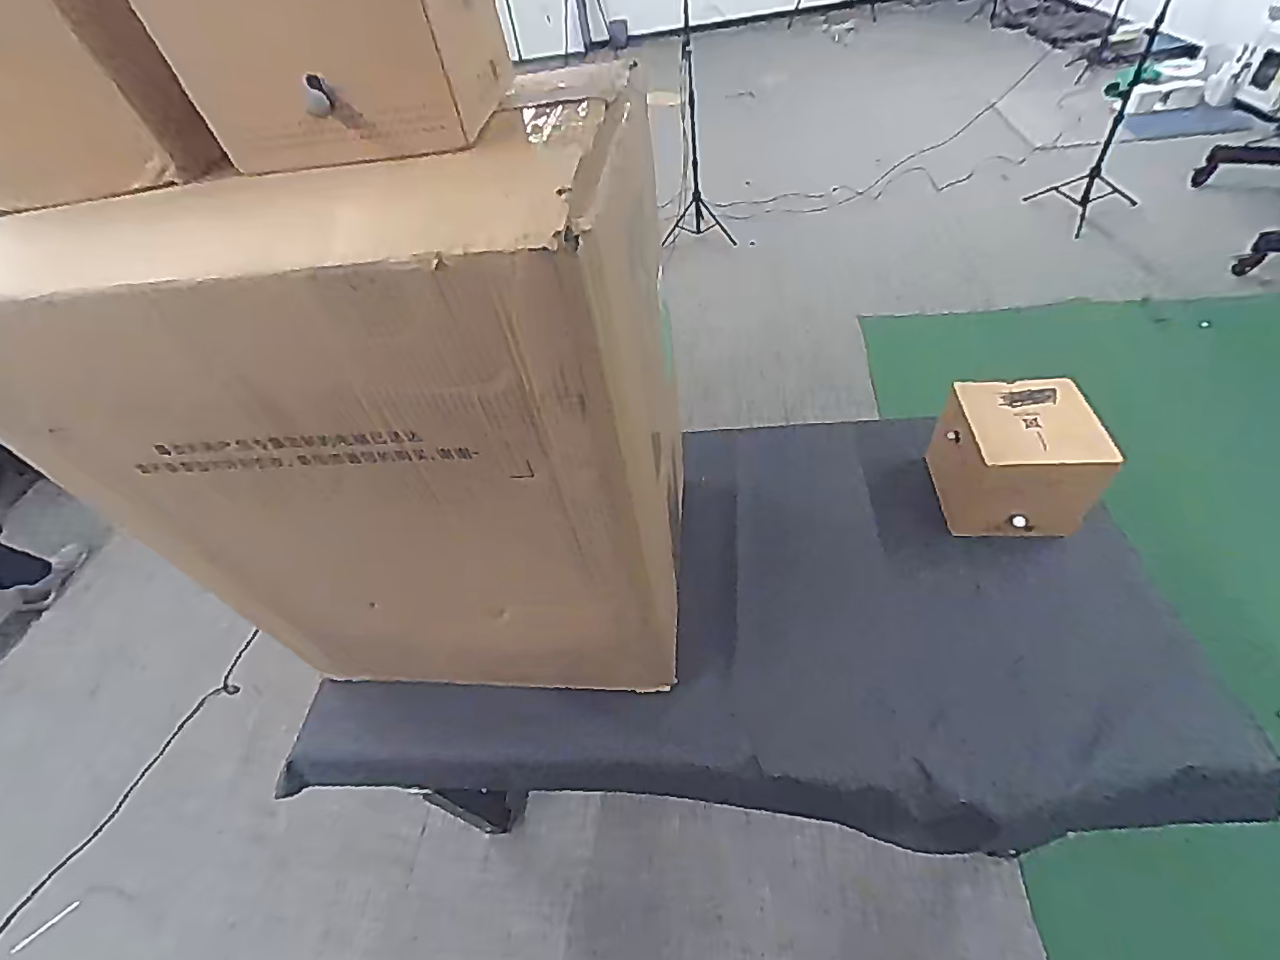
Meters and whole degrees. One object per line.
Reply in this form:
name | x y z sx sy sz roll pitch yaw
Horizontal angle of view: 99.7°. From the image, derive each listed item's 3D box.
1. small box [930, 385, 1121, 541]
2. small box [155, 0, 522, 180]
small box | 0.571 -0.026 0.834 0.168 0.176 0.179 -1 49 10
small box | -0.195 -0.333 0.376 0.179 0.176 0.168 -2 49 6
